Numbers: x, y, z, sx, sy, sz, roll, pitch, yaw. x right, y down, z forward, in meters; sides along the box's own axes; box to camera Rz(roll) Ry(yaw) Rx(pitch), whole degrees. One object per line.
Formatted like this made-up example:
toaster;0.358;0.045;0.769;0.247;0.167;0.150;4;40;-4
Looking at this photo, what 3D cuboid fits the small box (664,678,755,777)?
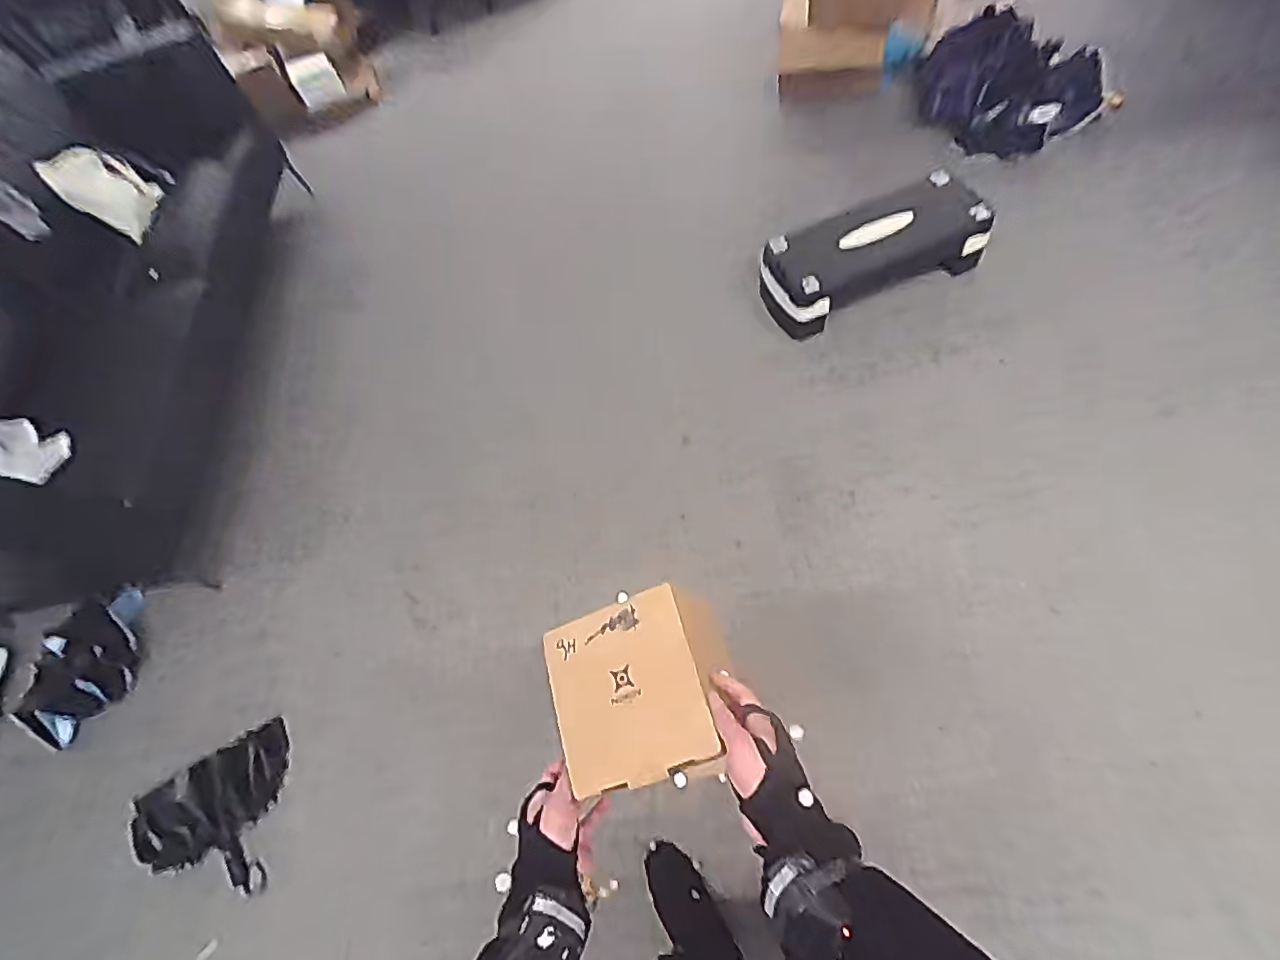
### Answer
small box;0.163;0.578;1.260;0.168;0.176;0.179;-16;62;5
